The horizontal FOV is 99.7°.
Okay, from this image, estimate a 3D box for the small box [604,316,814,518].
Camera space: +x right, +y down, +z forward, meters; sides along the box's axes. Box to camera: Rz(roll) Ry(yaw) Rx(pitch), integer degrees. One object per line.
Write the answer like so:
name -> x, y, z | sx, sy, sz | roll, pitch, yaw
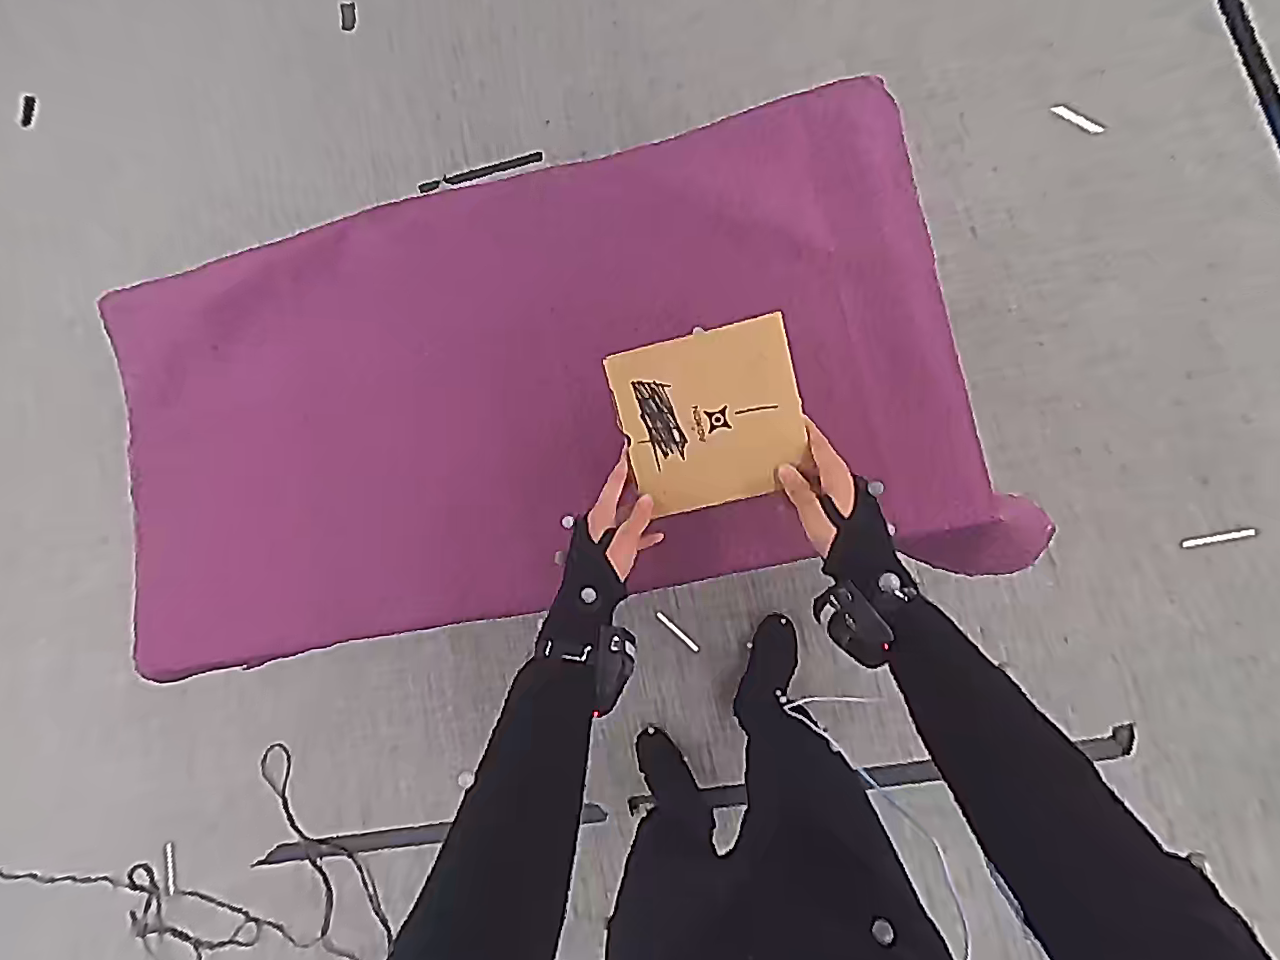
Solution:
small box -> 0.076, -0.066, 0.599 | 0.179, 0.176, 0.168 | -13, 96, 9
